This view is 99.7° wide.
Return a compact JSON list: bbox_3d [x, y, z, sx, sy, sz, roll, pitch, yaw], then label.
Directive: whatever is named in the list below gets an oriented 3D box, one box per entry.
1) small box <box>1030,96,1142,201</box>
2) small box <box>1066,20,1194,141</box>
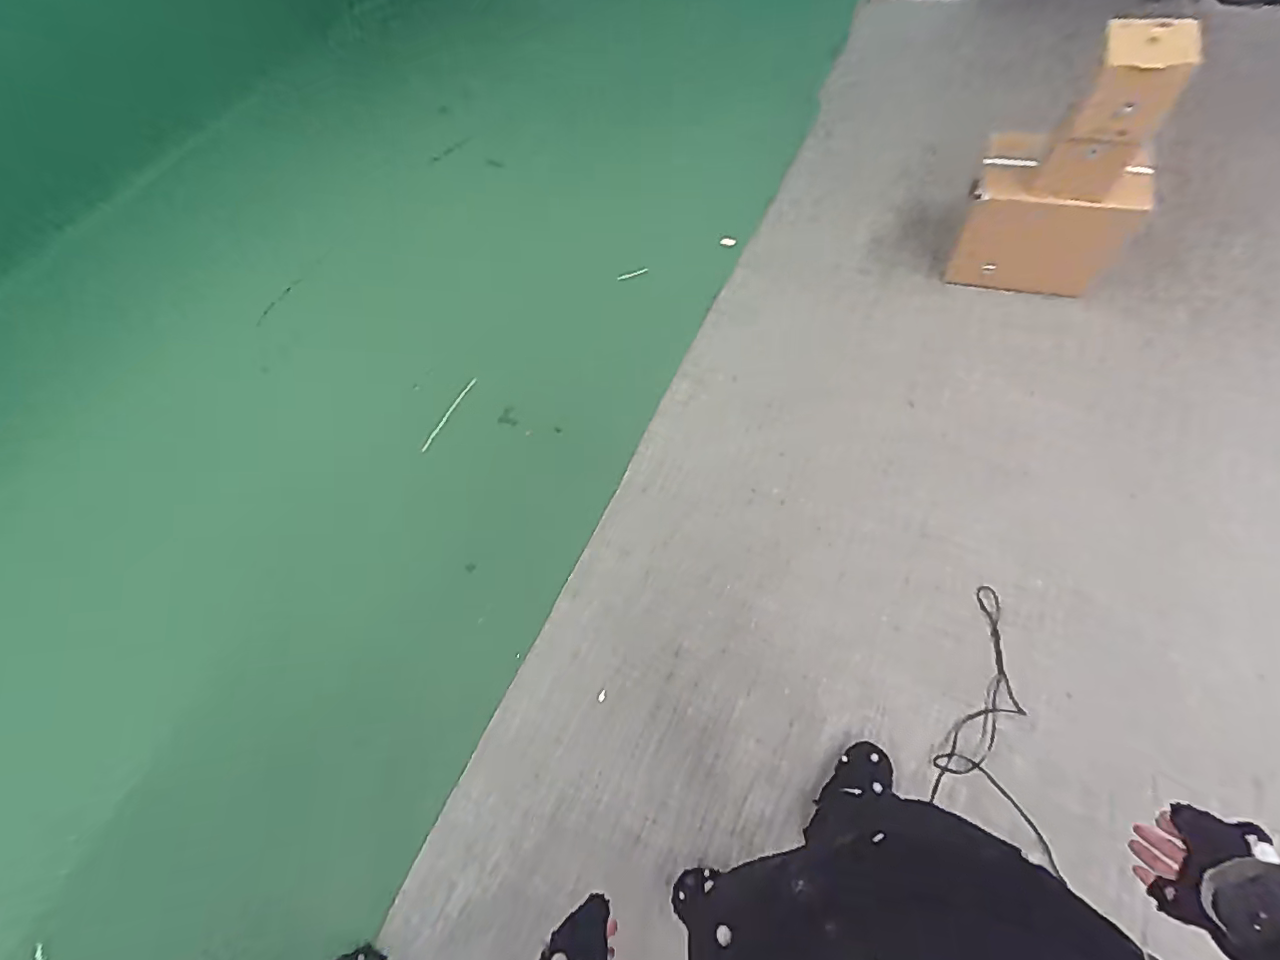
[{"bbox_3d":[1.155,-0.859,1.406,0.179,0.176,0.168,18,69,16],"label":"small box"},{"bbox_3d":[1.130,-0.925,1.259,0.168,0.176,0.179,15,69,17],"label":"small box"}]
